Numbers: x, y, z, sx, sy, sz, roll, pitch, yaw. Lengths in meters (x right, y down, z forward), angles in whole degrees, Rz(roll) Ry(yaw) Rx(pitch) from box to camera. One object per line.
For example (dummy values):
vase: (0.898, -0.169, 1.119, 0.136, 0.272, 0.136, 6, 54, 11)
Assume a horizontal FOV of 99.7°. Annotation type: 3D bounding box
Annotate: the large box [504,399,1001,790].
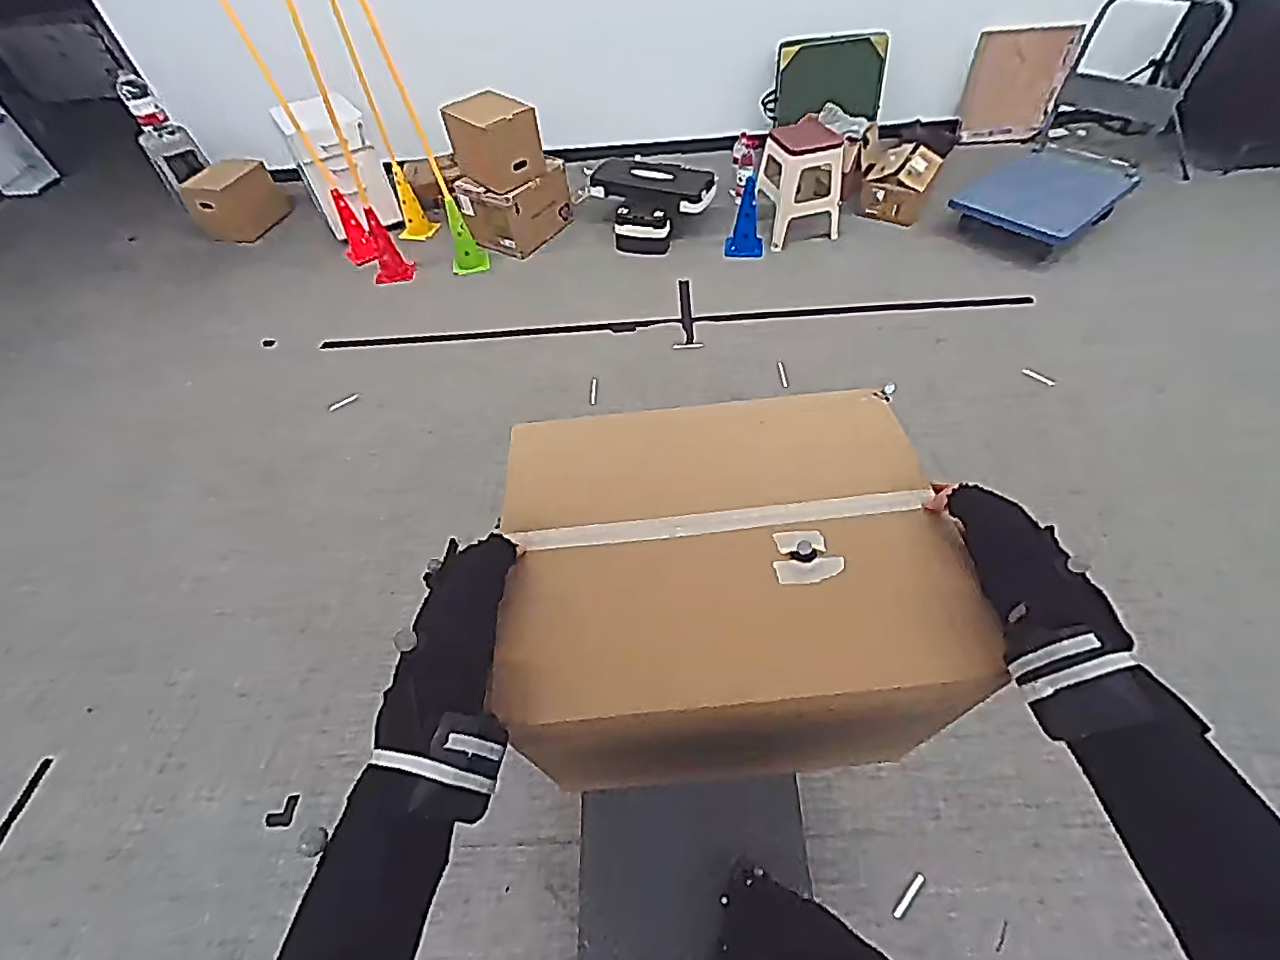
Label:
large box: (0.085, 0.141, 0.630, 0.408, 0.320, 0.320, -6, 52, 0)
